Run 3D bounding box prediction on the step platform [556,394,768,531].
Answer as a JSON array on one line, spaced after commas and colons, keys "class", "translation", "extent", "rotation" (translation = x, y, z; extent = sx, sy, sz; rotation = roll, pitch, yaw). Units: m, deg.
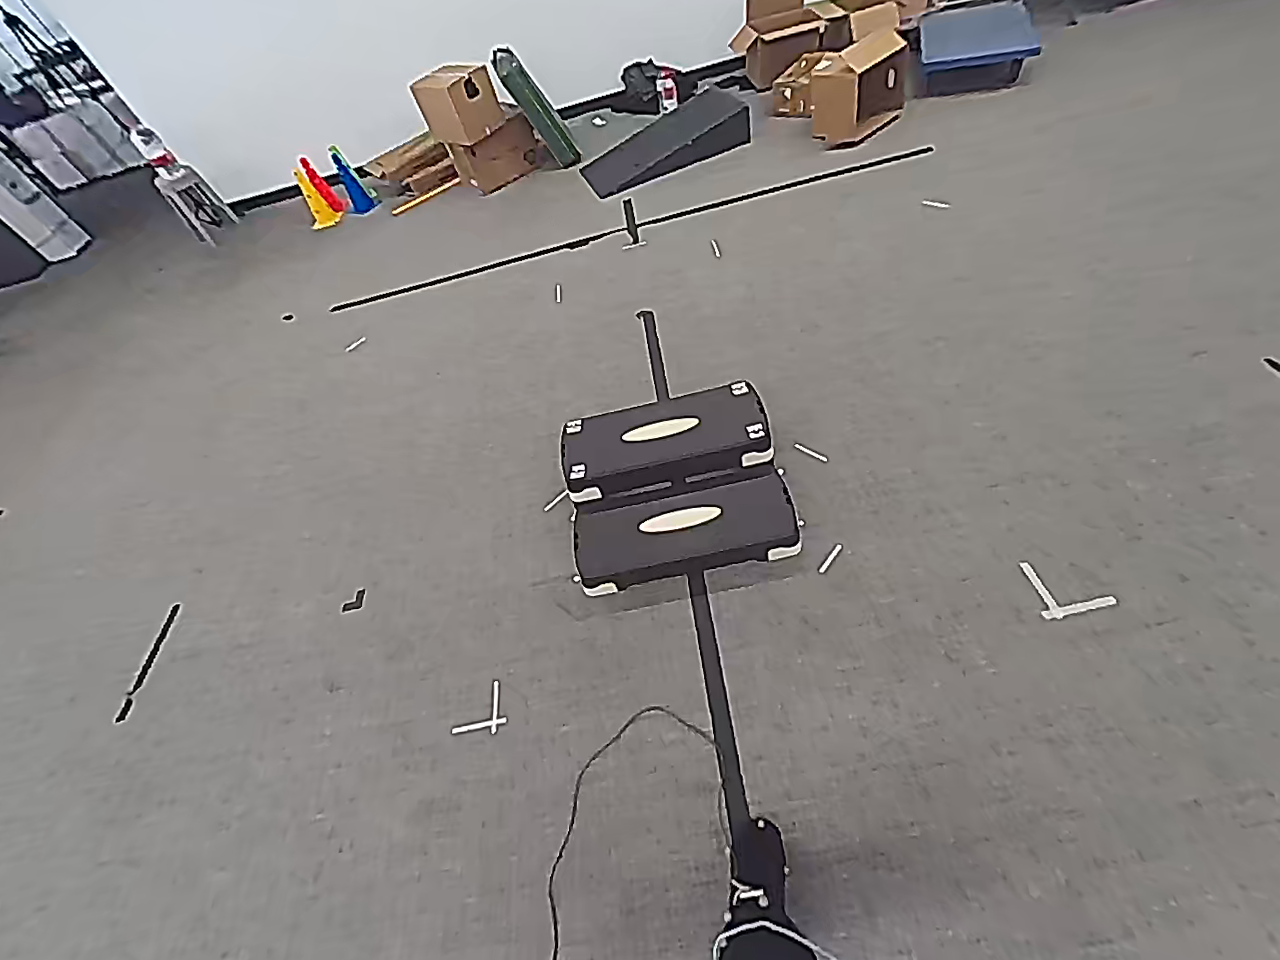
[{"class": "step platform", "translation": [0.068, -0.061, 1.783], "extent": [0.684, 0.204, 0.286], "rotation": [-13, 51, 4]}]
